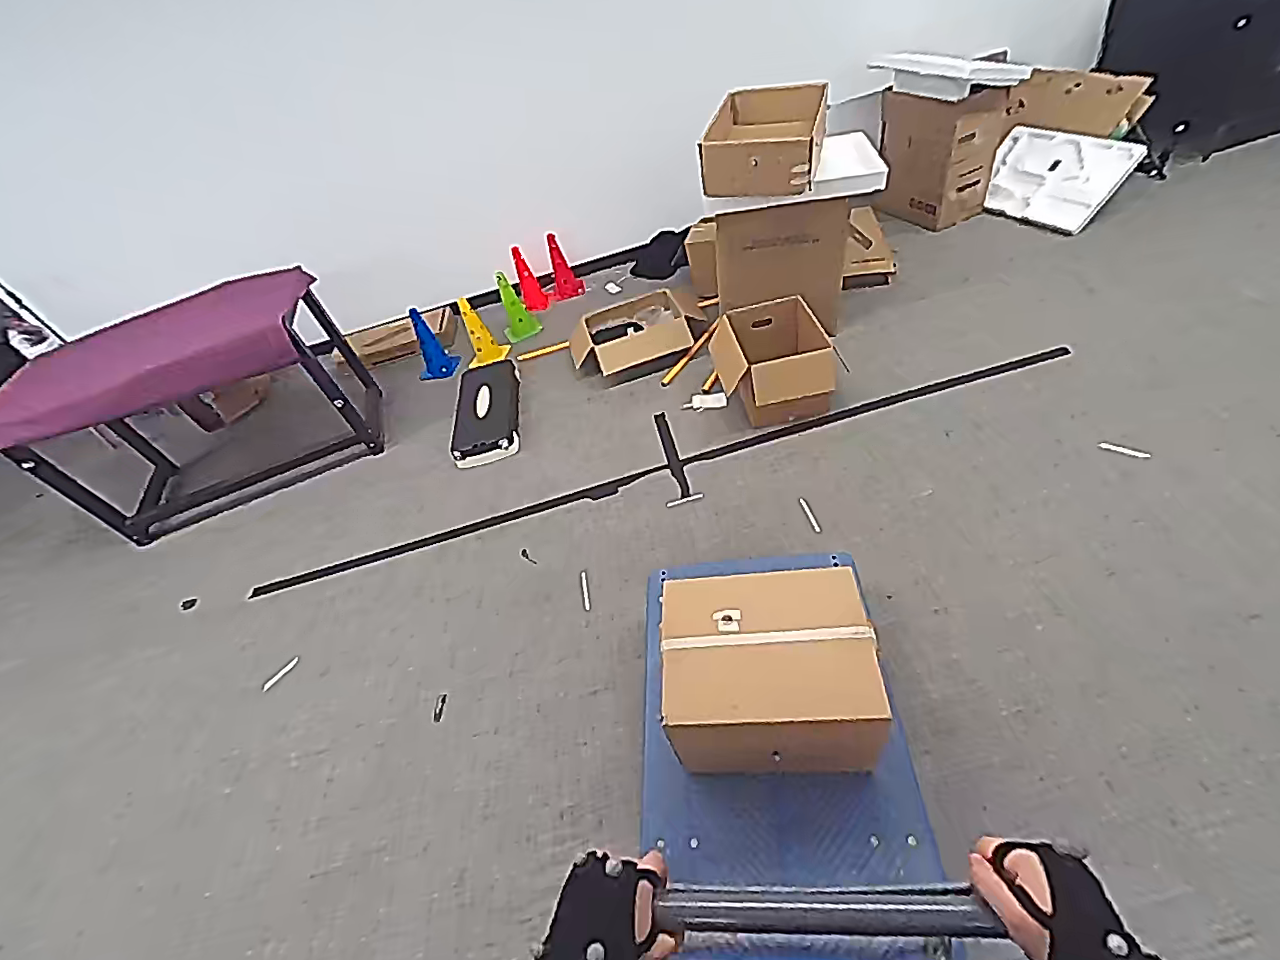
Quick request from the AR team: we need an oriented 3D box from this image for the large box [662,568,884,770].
[{"bbox_3d":[0.275,0.426,1.193,0.408,0.320,0.320,-8,45,11],"label":"large box"}]
